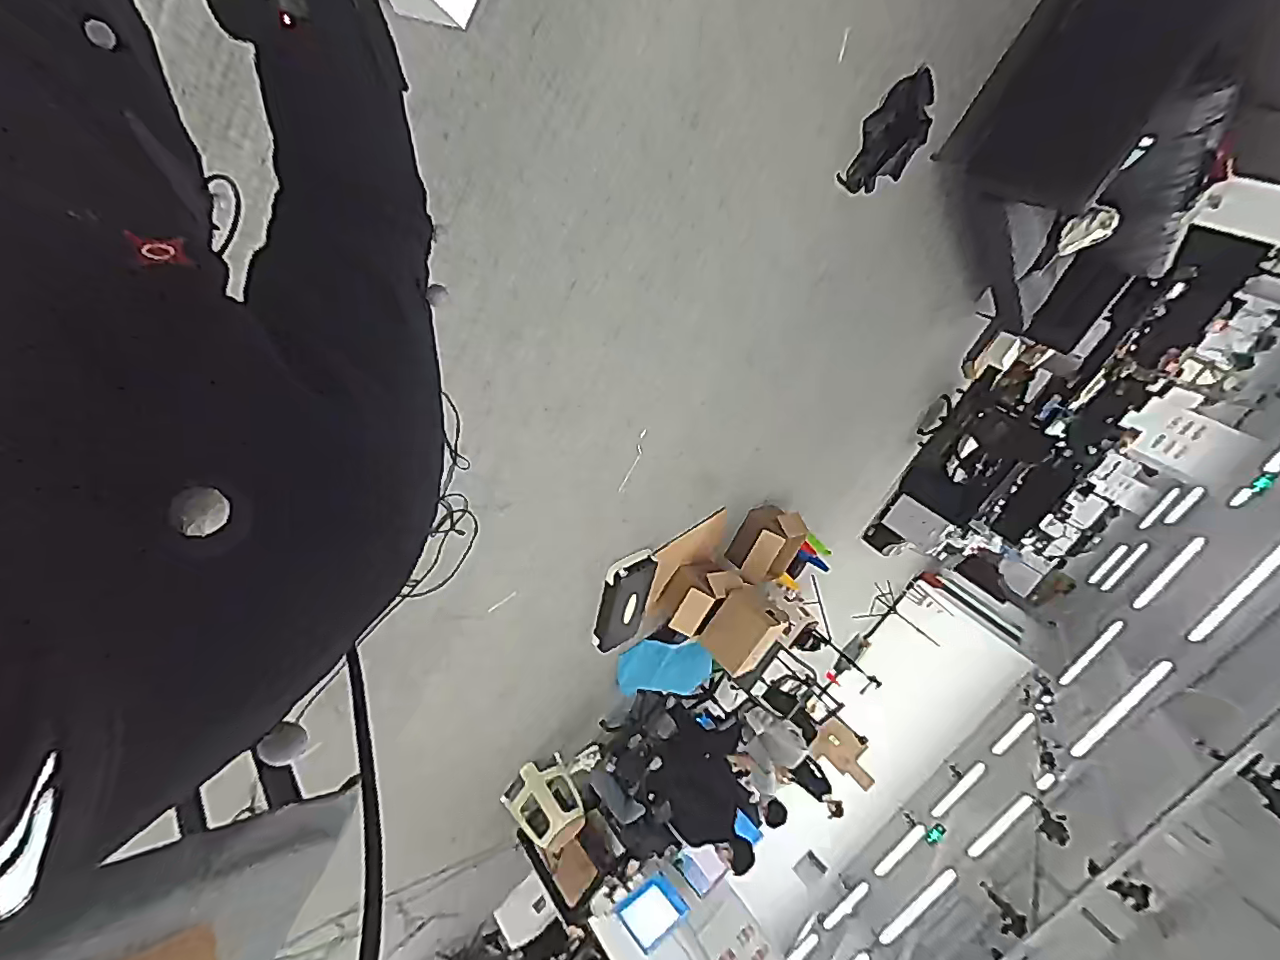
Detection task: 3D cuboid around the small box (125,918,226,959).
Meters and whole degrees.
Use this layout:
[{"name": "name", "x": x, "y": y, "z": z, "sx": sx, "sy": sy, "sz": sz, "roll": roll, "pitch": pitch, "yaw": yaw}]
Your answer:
[{"name": "small box", "x": -0.858, "y": 0.947, "z": 0.960, "sx": 0.179, "sy": 0.176, "sz": 0.168, "roll": 3, "pitch": 123, "yaw": -52}]
